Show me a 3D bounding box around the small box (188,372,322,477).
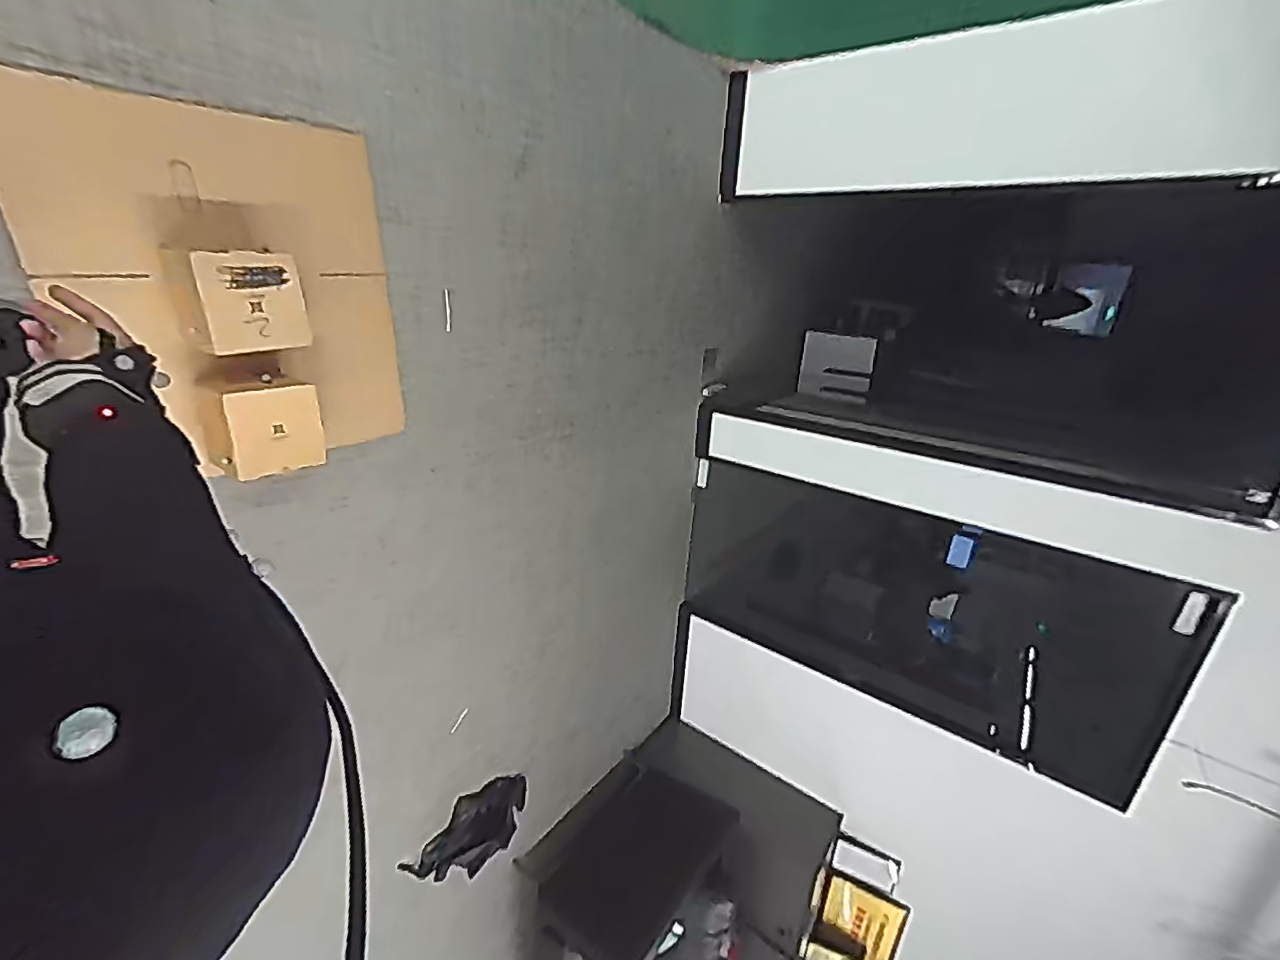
[{"bbox_3d":[-0.792,-0.124,1.116,0.168,0.176,0.179,-23,124,-50],"label":"small box"}]
